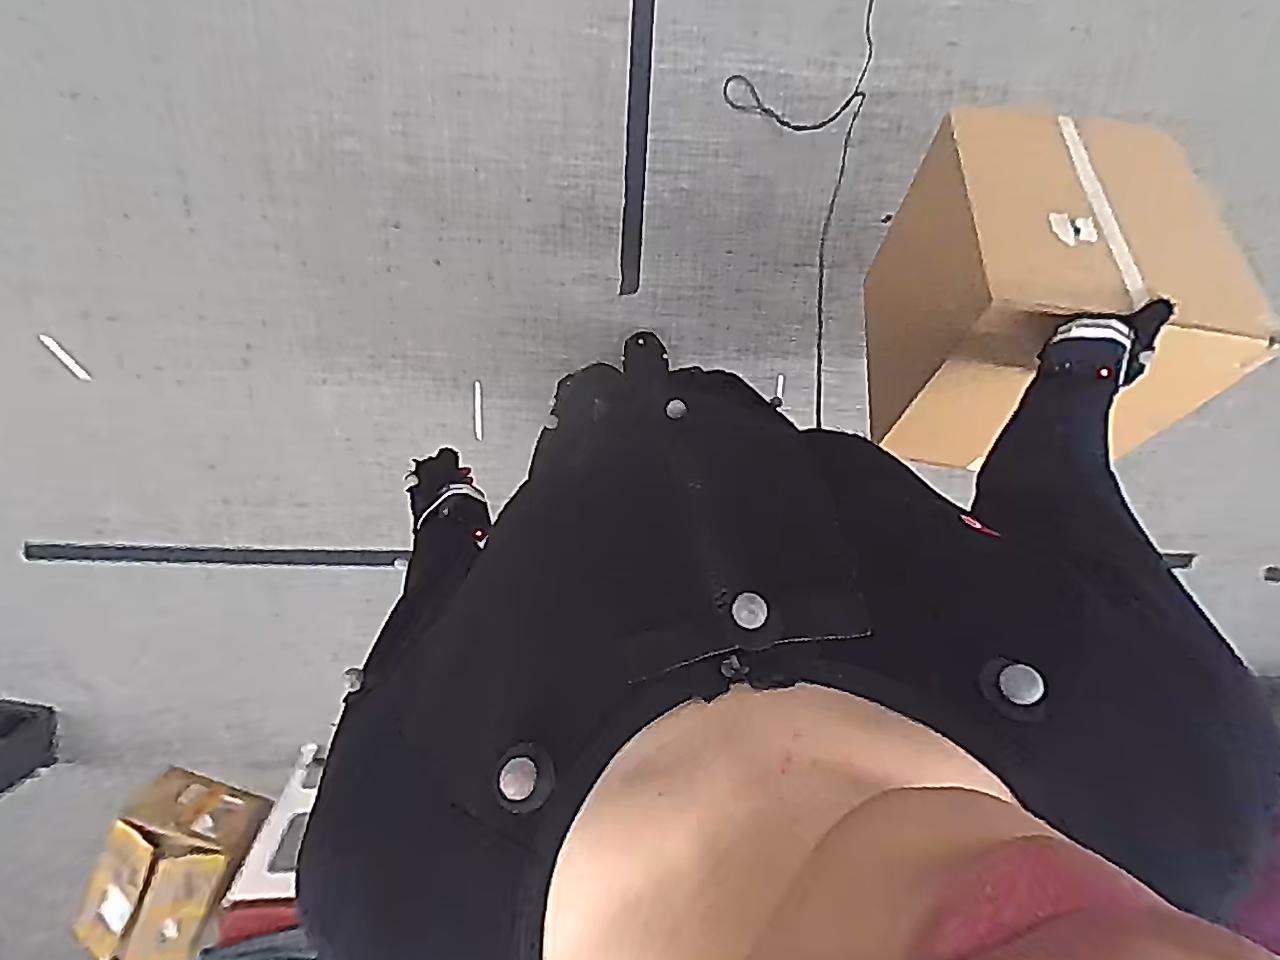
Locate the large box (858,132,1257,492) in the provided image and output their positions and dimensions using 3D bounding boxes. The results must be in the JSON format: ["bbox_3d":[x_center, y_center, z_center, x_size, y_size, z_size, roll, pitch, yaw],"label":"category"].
[{"bbox_3d":[0.555,-0.245,0.827,0.320,0.320,0.408,9,61,1],"label":"large box"}]
